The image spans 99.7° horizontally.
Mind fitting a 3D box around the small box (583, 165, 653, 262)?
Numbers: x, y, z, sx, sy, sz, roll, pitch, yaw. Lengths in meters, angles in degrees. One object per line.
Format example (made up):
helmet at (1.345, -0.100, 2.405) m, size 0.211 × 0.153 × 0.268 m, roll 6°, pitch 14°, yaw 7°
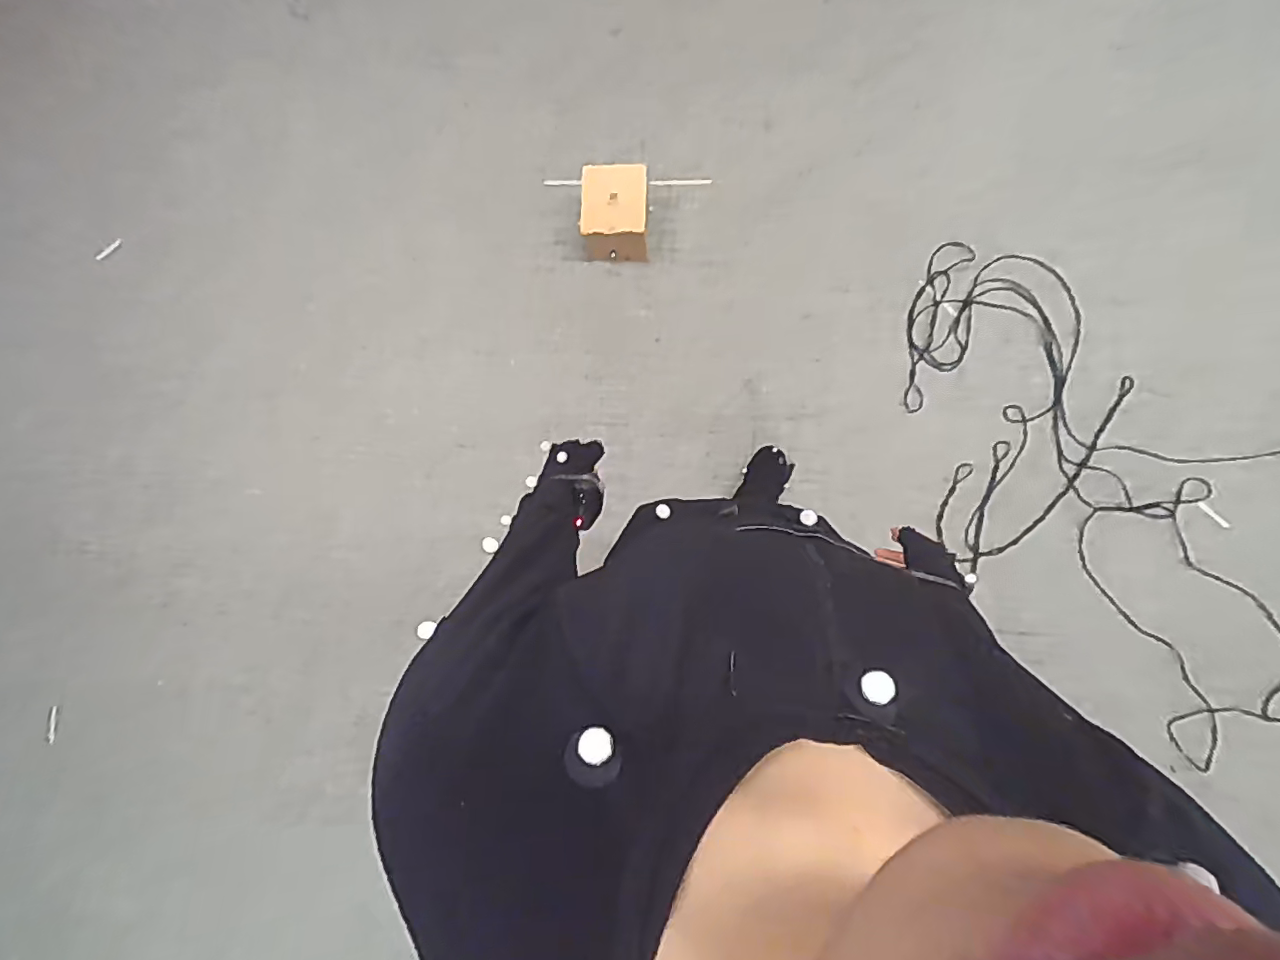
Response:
small box at (-0.054, -0.698, 1.430) m, size 0.168 × 0.176 × 0.179 m, roll 1°, pitch 89°, yaw 5°
